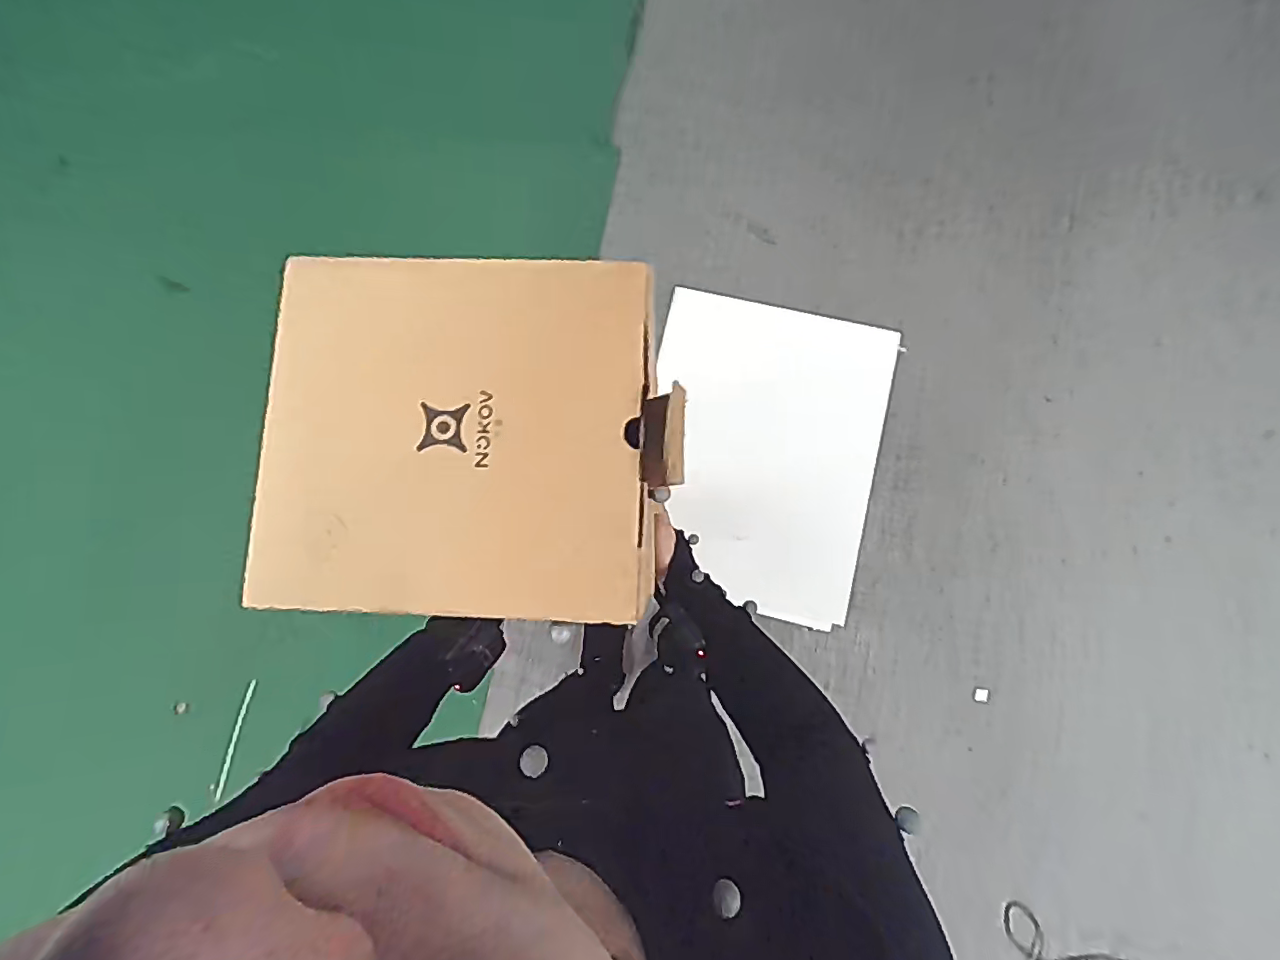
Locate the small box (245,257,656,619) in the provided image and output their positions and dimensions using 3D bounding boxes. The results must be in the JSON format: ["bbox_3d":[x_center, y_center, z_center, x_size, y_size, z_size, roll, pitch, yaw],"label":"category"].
[{"bbox_3d":[-0.081,-0.011,0.322,0.179,0.176,0.168,1,81,1],"label":"small box"}]
